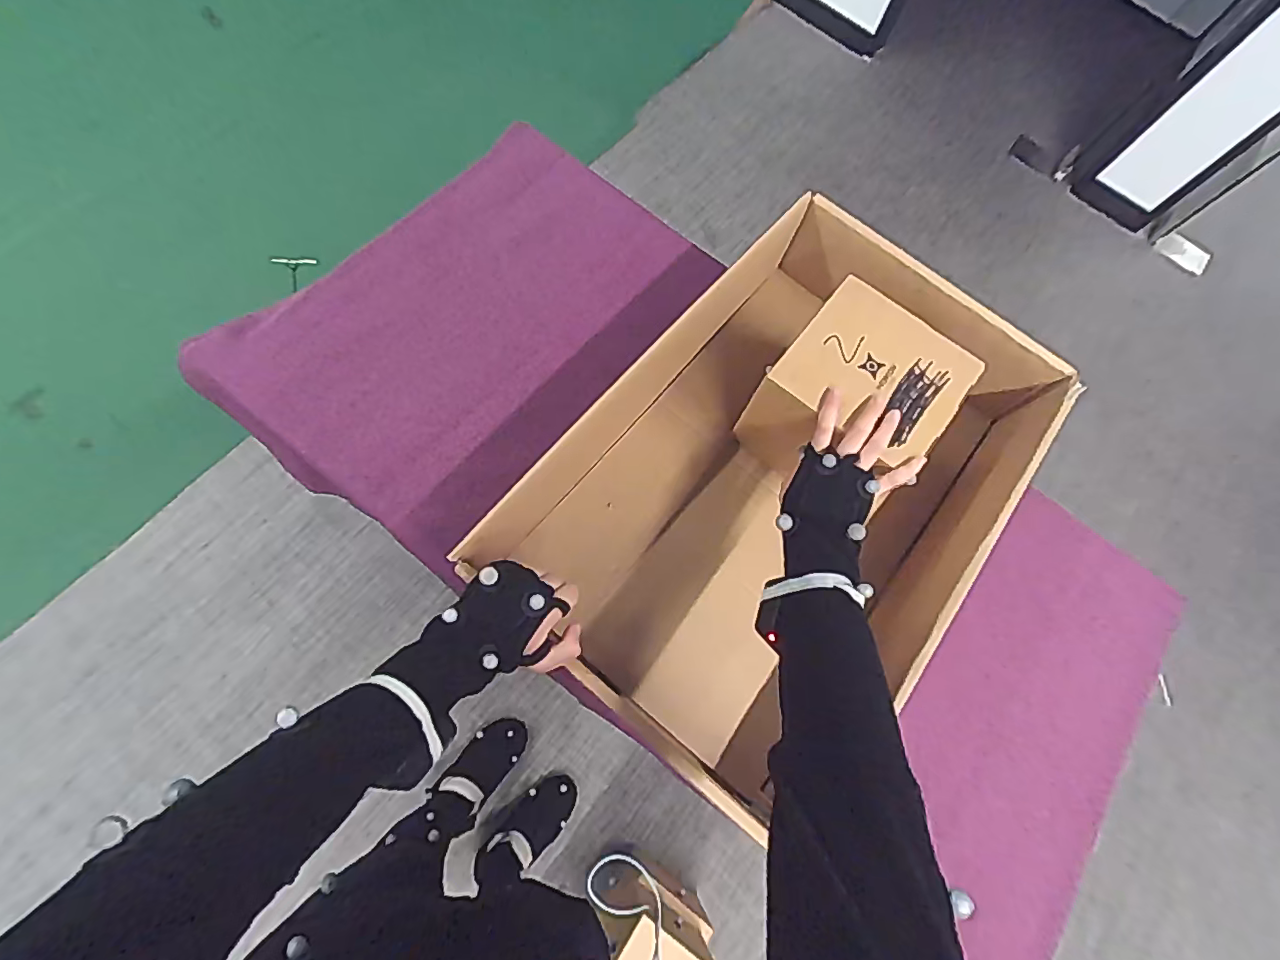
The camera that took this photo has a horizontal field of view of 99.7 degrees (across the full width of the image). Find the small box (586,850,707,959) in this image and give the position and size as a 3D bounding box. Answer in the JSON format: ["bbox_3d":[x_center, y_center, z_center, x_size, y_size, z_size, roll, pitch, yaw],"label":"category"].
[{"bbox_3d":[0.007,0.907,1.107,0.179,0.176,0.168,37,71,7],"label":"small box"}]
